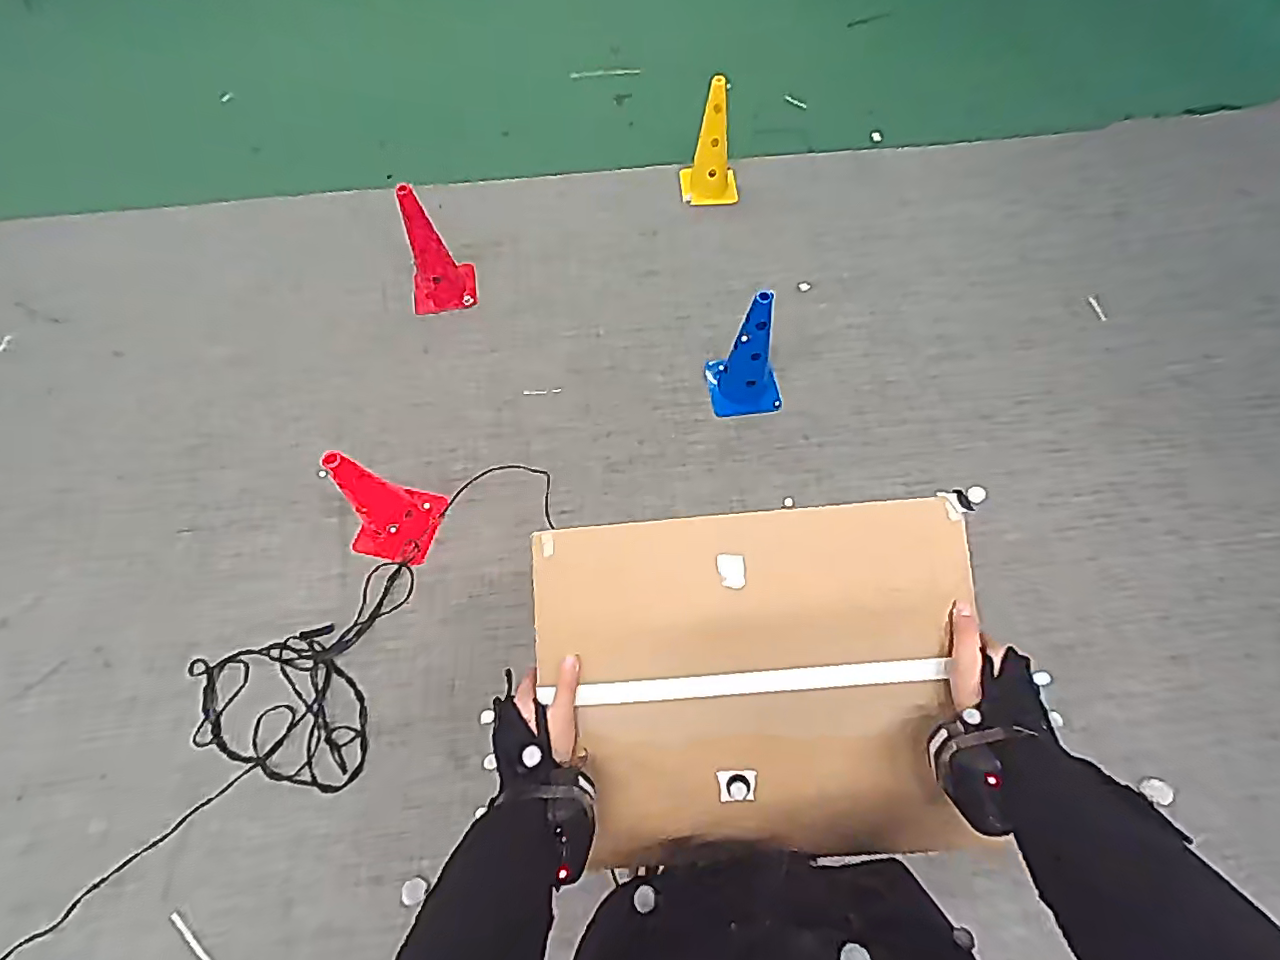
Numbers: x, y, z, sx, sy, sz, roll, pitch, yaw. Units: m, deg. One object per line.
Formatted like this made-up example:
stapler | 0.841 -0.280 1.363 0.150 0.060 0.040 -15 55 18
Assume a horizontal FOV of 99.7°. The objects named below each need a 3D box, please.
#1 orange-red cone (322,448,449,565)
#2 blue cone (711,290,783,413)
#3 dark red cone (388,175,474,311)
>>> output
orange-red cone | -0.628 0.035 1.260 0.199 0.360 0.198 12 62 9
blue cone | 0.307 -0.352 1.446 0.192 0.380 0.193 -5 63 -1
dark red cone | -0.650 -0.716 1.627 0.202 0.394 0.201 -12 60 -4
